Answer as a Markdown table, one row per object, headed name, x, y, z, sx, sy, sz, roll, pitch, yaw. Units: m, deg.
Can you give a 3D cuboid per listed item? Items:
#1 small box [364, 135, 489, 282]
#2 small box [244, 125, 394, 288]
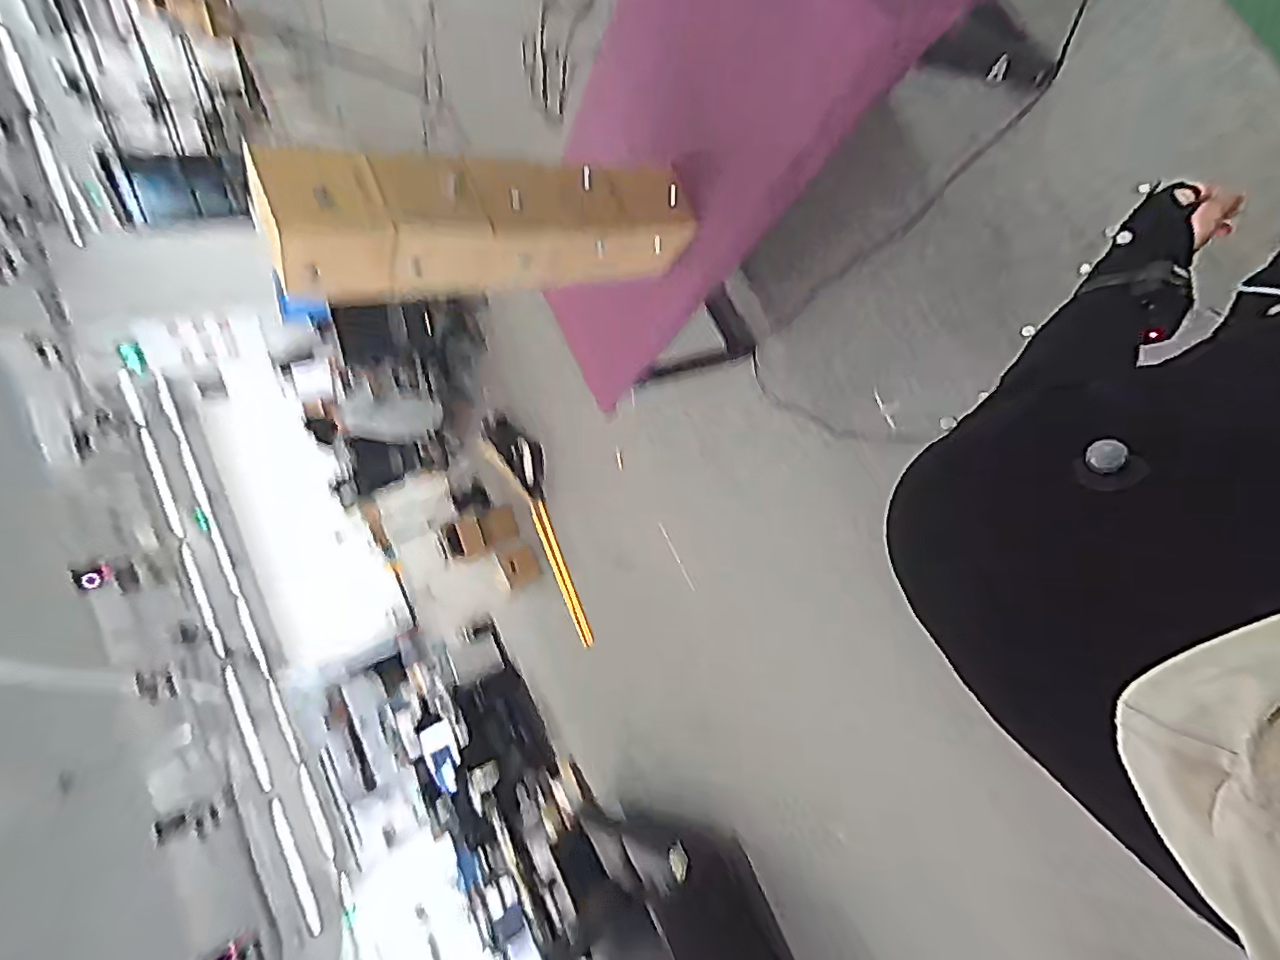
| name | x | y | z | sx | sy | sz | roll | pitch | yaw |
| --- | --- | --- | --- | --- | --- | --- | --- | --- | --- |
| small box | -0.392 | -0.484 | 0.985 | 0.179 | 0.176 | 0.168 | -33 | 78 | 55 |
| small box | -0.518 | -0.443 | 0.892 | 0.179 | 0.176 | 0.168 | -33 | 79 | 56 |
